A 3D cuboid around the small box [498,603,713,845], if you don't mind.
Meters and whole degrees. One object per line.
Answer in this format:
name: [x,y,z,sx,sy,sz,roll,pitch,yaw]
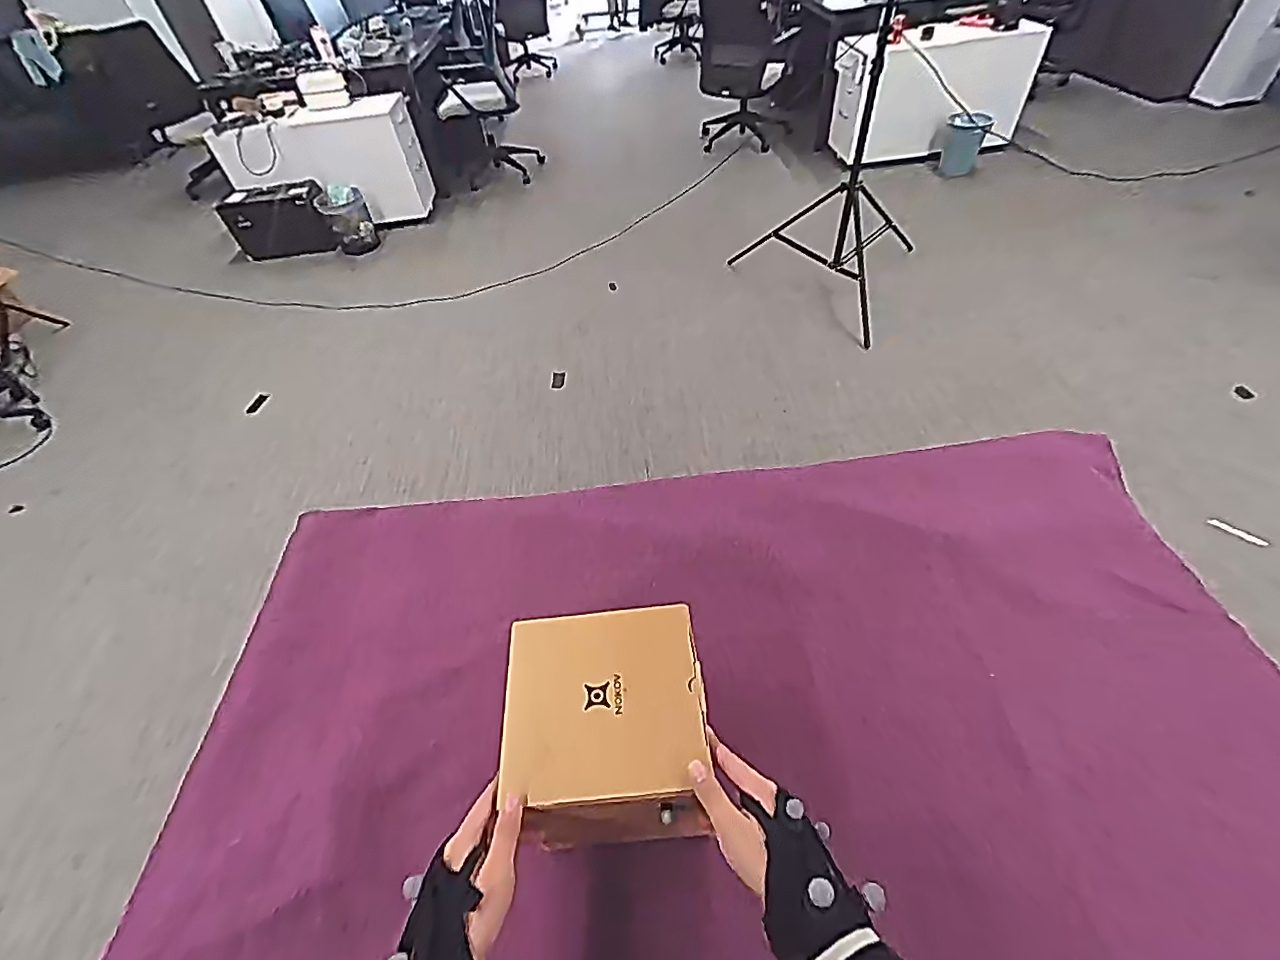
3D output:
small box: [-0.026,0.244,0.537,0.179,0.176,0.168,-6,46,0]
